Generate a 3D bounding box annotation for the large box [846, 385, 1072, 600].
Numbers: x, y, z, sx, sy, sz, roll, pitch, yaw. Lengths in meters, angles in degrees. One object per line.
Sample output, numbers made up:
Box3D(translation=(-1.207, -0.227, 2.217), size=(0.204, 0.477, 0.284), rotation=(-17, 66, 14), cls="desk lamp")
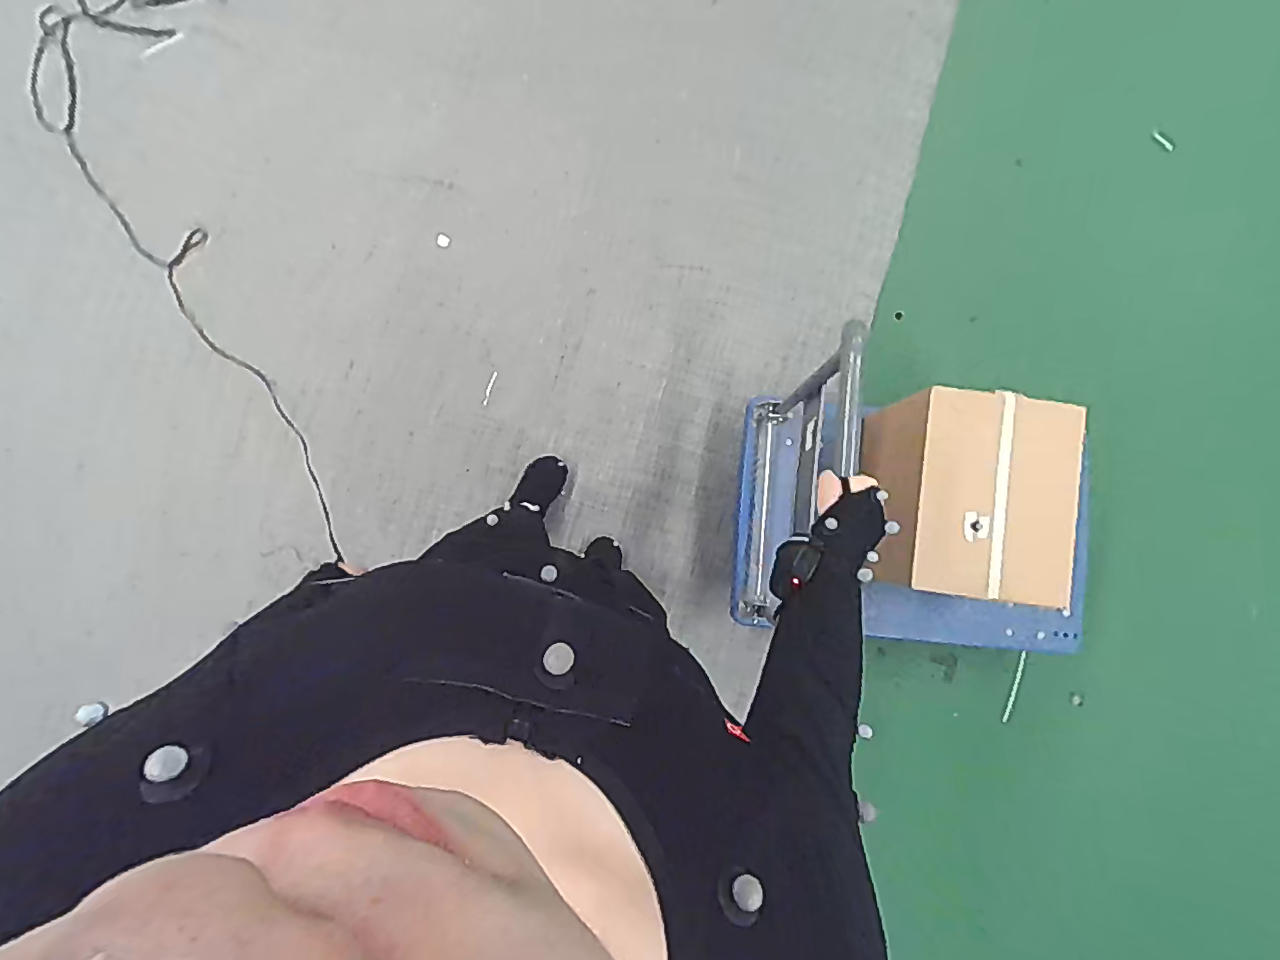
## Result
Box3D(translation=(0.691, 0.030, 1.220), size=(0.320, 0.320, 0.408), rotation=(8, 86, 0), cls="large box")
